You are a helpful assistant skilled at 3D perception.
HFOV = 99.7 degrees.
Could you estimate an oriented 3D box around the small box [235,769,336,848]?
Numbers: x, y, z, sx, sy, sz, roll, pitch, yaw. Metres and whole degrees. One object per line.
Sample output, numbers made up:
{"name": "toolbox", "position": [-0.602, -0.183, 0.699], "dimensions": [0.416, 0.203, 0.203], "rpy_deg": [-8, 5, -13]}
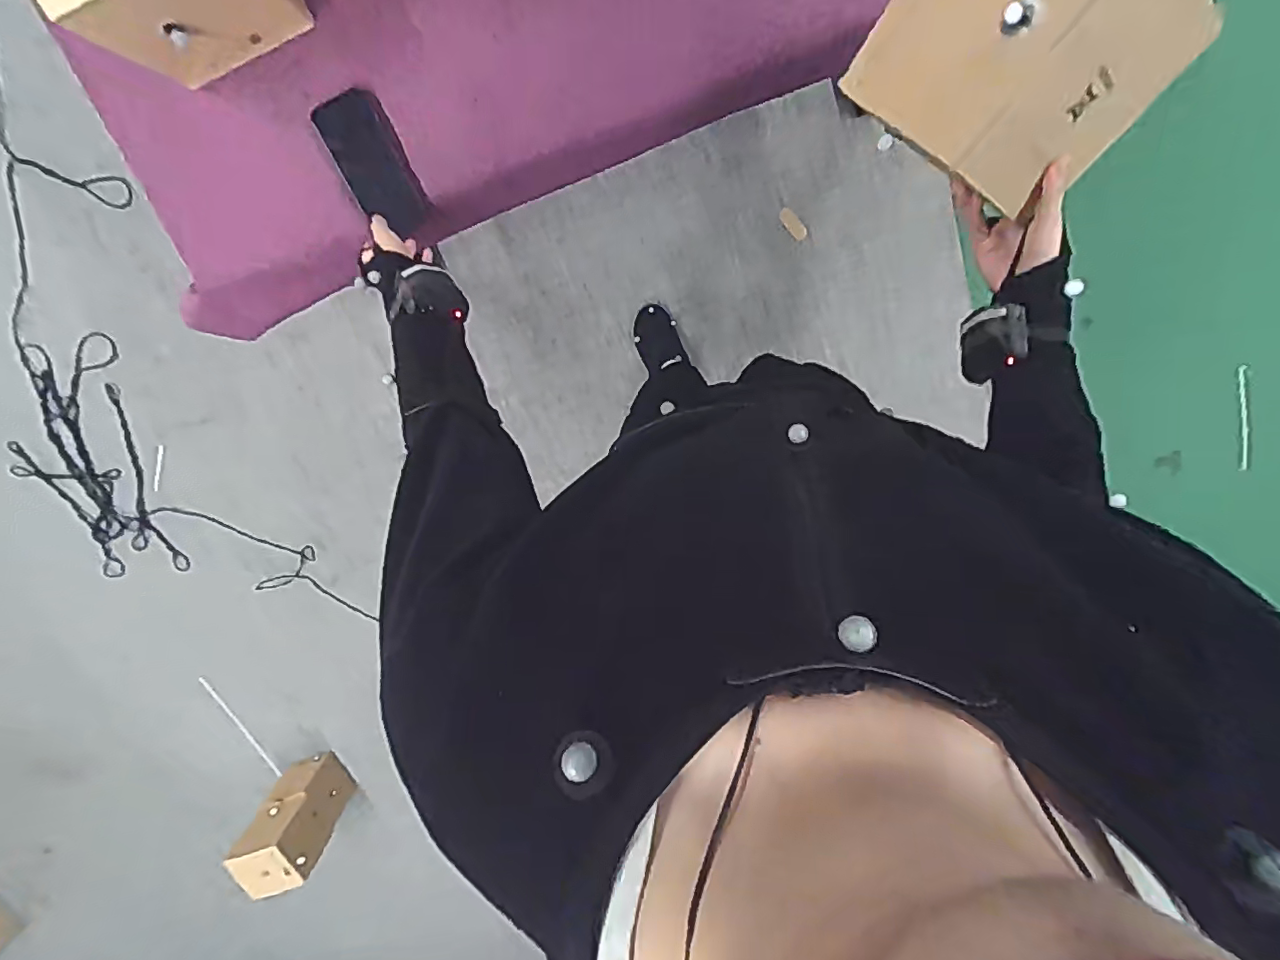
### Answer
{"name": "small box", "position": [-1.113, 1.051, 1.713], "dimensions": [0.168, 0.176, 0.179], "rpy_deg": [-20, 106, 5]}

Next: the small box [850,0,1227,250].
{"name": "small box", "position": [0.320, -0.338, 0.456], "dimensions": [0.168, 0.176, 0.179], "rpy_deg": [1, 141, -41]}

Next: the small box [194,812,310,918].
{"name": "small box", "position": [-1.107, 1.103, 1.557], "dimensions": [0.179, 0.176, 0.168], "rpy_deg": [-19, 106, 5]}

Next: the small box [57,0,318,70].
{"name": "small box", "position": [-0.456, -0.534, 0.514], "dimensions": [0.168, 0.176, 0.179], "rpy_deg": [-21, 105, 5]}
